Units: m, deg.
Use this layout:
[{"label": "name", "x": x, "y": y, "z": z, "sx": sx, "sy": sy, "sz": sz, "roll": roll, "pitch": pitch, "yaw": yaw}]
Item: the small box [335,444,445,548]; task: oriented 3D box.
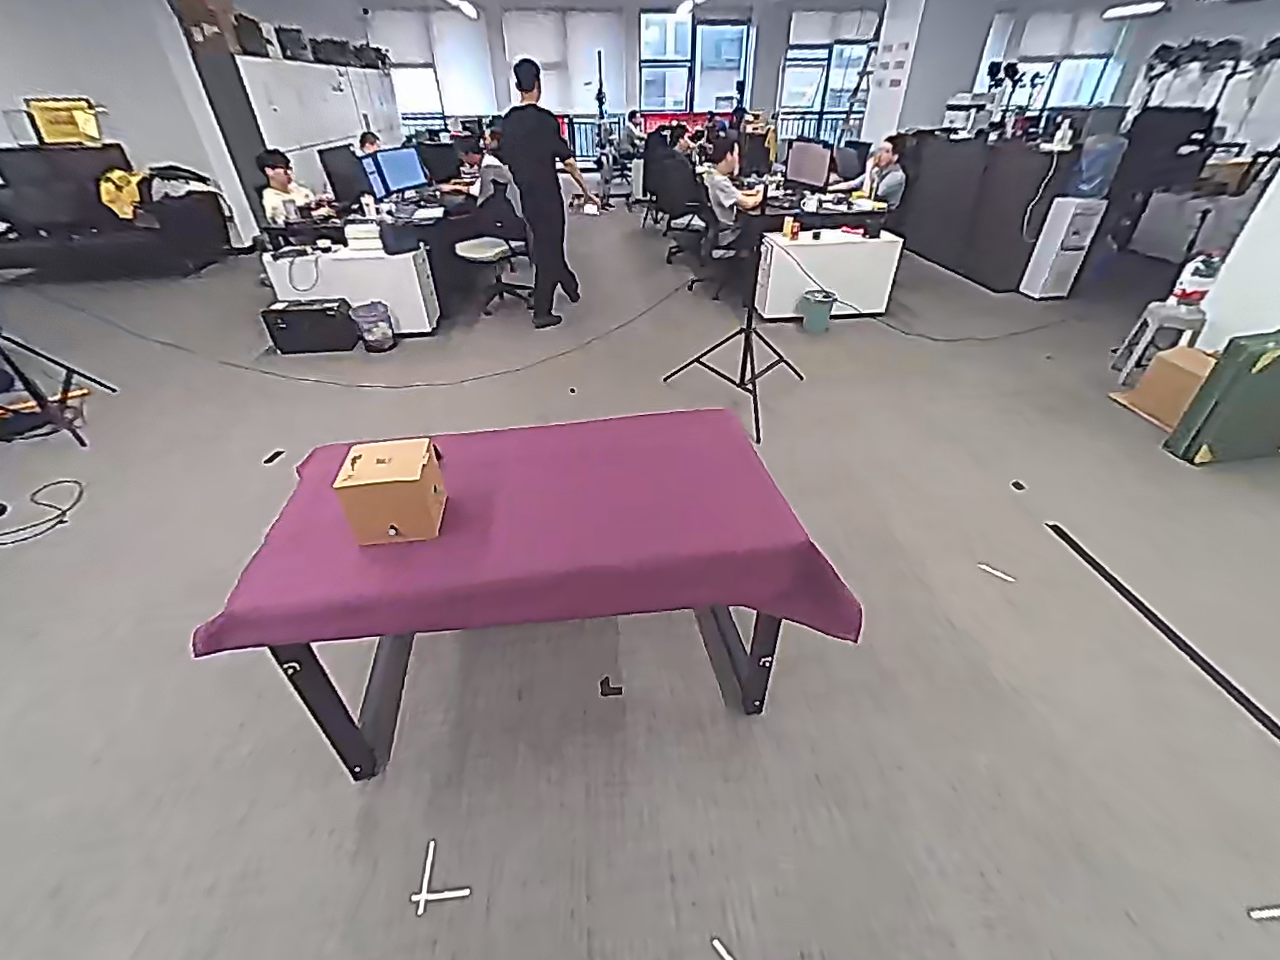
[{"label": "small box", "x": -0.556, "y": 0.035, "z": 1.232, "sx": 0.179, "sy": 0.176, "sz": 0.168, "roll": -5, "pitch": 36, "yaw": -7}]
